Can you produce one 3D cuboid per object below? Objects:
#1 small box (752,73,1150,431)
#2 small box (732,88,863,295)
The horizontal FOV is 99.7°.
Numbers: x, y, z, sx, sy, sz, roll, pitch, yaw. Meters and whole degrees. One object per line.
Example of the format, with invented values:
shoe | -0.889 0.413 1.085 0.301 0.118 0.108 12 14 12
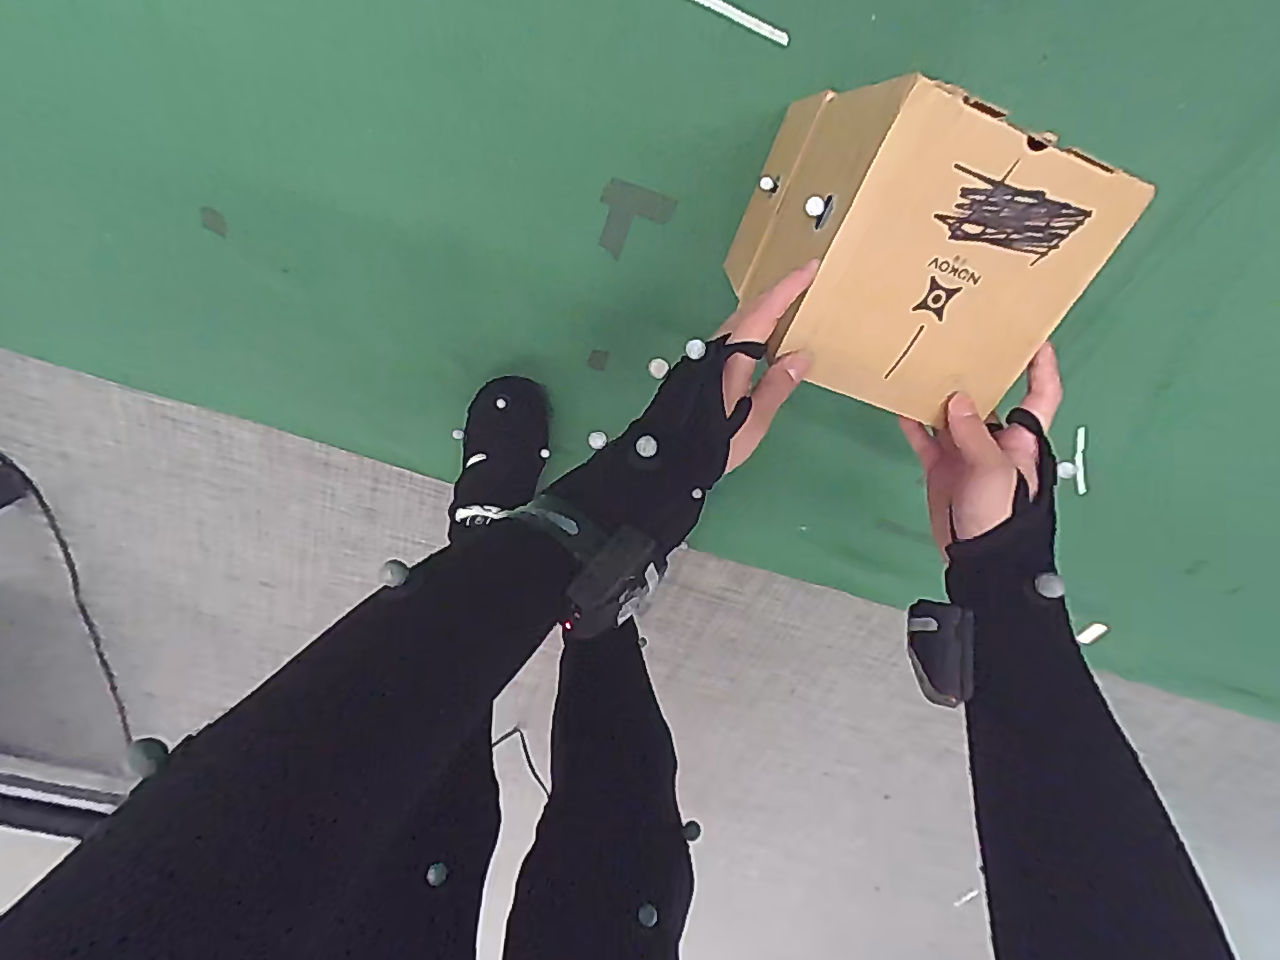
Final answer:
small box | 0.202 -0.171 0.418 0.168 0.176 0.179 18 121 -10
small box | 0.206 -0.267 0.560 0.168 0.176 0.179 19 121 -9
